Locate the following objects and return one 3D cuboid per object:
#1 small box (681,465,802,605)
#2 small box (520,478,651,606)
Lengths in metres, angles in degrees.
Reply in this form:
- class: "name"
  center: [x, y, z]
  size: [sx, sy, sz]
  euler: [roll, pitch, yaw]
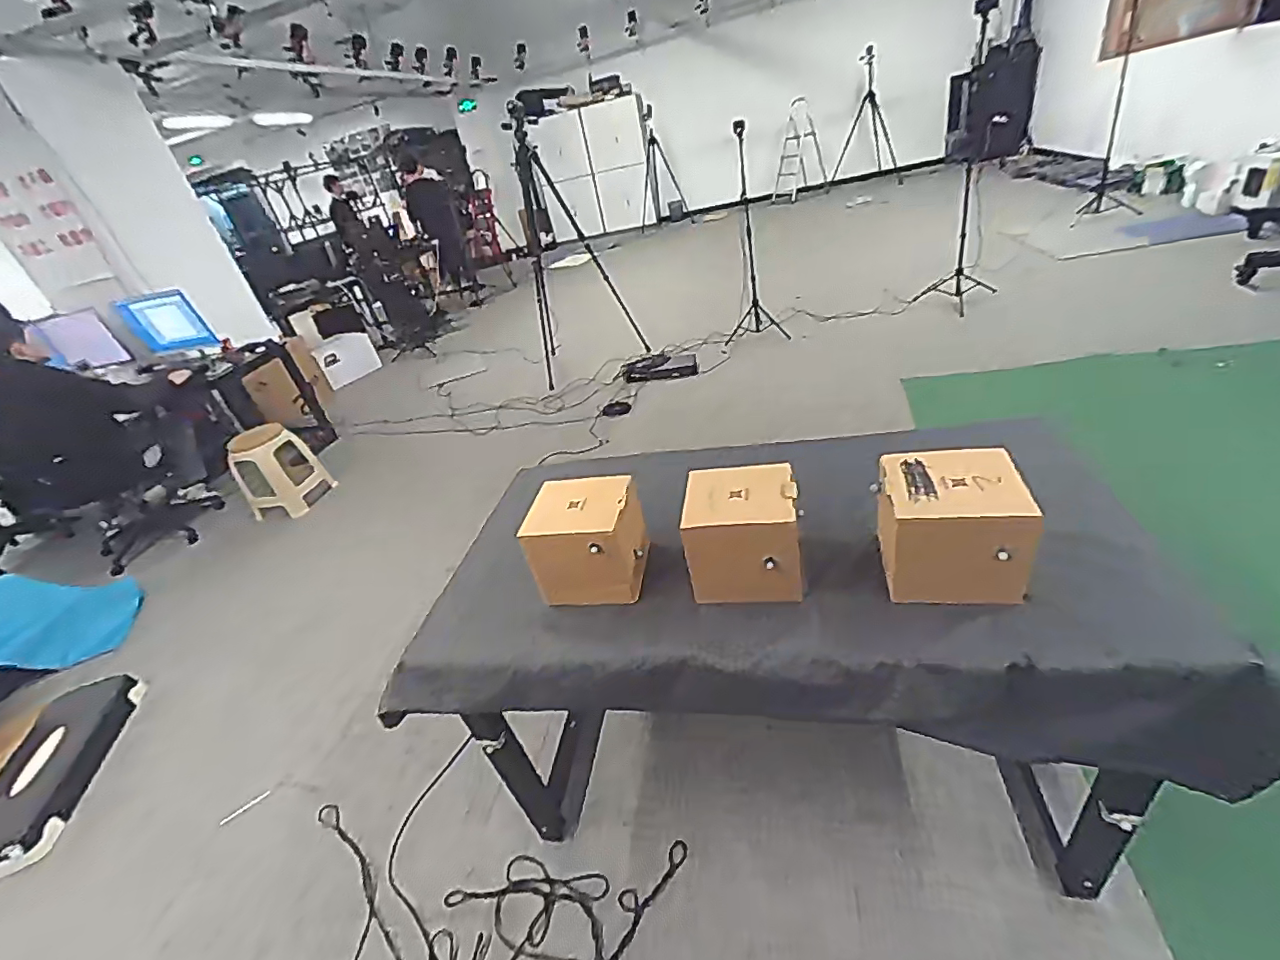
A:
- class: "small box"
  center: [0.178, 0.094, 0.914]
  size: [0.179, 0.176, 0.168]
  euler: [-6, 31, 16]
- class: "small box"
  center: [-0.091, 0.116, 0.992]
  size: [0.179, 0.176, 0.168]
  euler: [-5, 32, 14]
